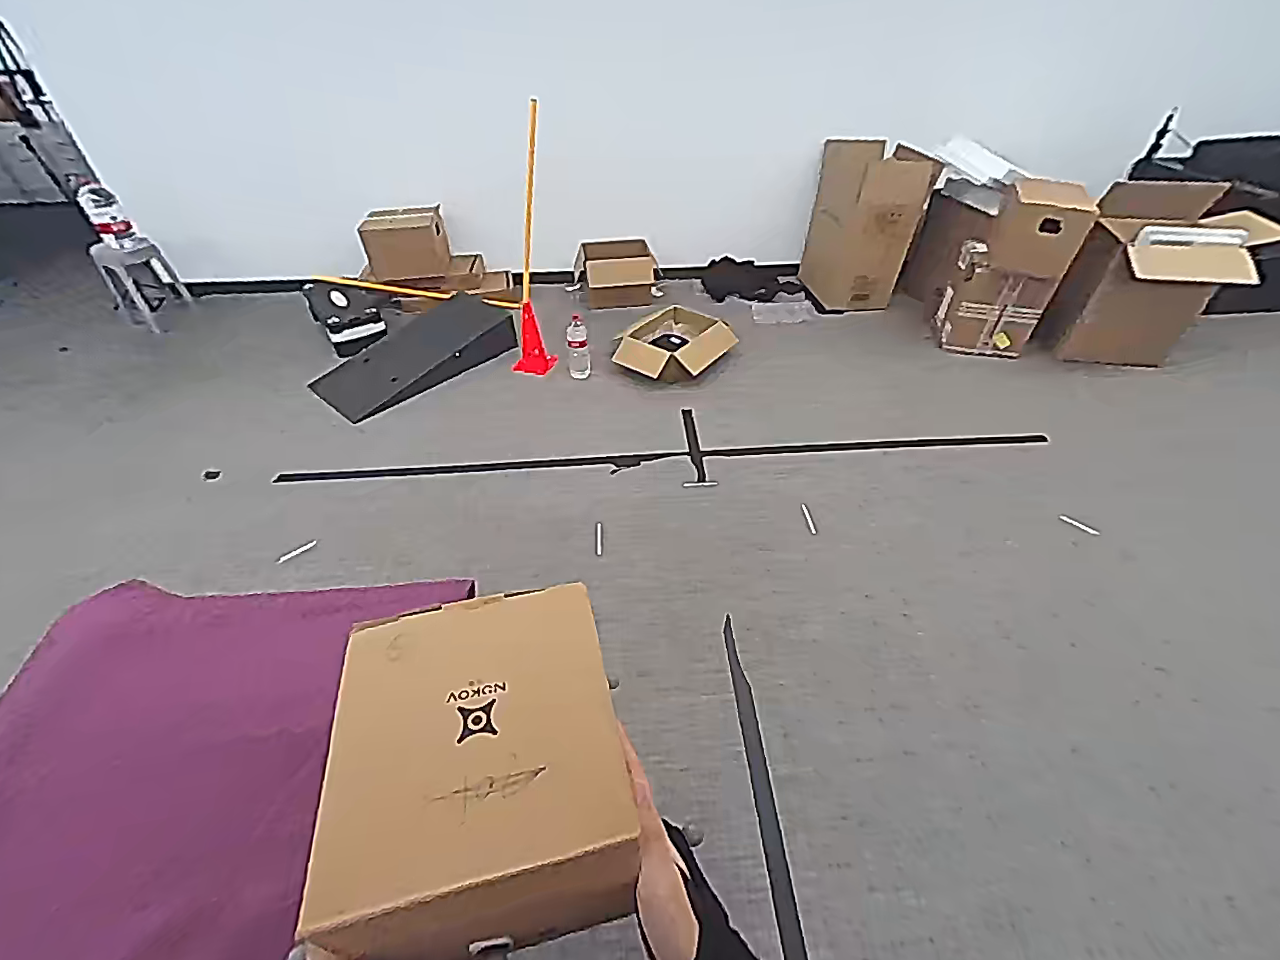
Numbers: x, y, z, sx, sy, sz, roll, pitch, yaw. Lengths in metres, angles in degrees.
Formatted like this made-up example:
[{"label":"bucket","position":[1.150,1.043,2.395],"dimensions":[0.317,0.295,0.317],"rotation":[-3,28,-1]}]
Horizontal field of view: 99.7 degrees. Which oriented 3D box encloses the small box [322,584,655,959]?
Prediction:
[{"label":"small box","position":[-0.093,0.205,0.382],"dimensions":[0.168,0.176,0.179],"rotation":[-9,42,-12]}]
